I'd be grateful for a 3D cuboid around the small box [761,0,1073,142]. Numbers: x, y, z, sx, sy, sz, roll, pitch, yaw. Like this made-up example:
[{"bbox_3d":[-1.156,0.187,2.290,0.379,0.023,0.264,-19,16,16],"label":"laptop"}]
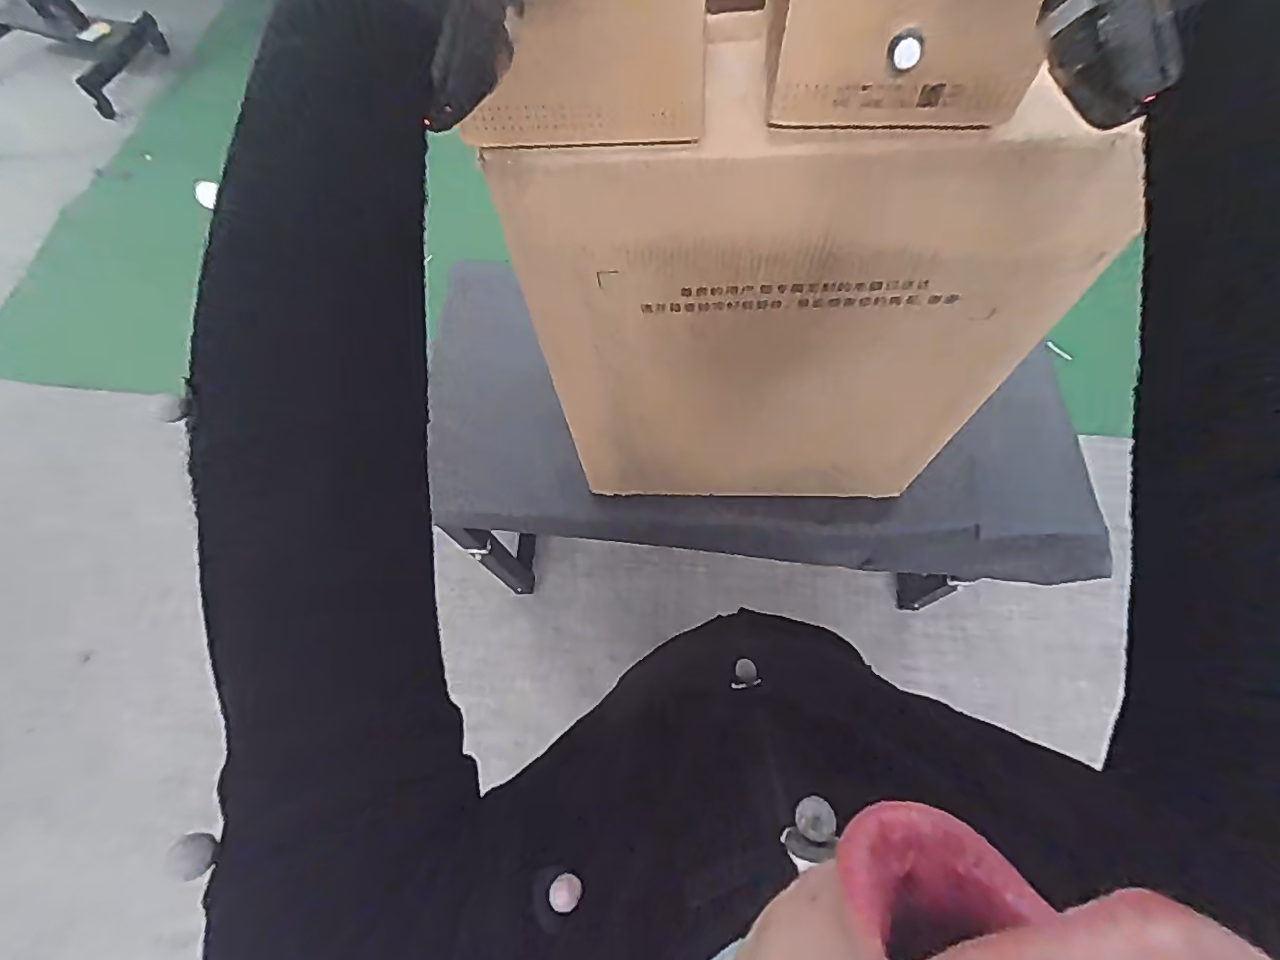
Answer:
[{"bbox_3d":[0.173,-0.354,0.342,0.168,0.176,0.179,4,67,3],"label":"small box"}]
